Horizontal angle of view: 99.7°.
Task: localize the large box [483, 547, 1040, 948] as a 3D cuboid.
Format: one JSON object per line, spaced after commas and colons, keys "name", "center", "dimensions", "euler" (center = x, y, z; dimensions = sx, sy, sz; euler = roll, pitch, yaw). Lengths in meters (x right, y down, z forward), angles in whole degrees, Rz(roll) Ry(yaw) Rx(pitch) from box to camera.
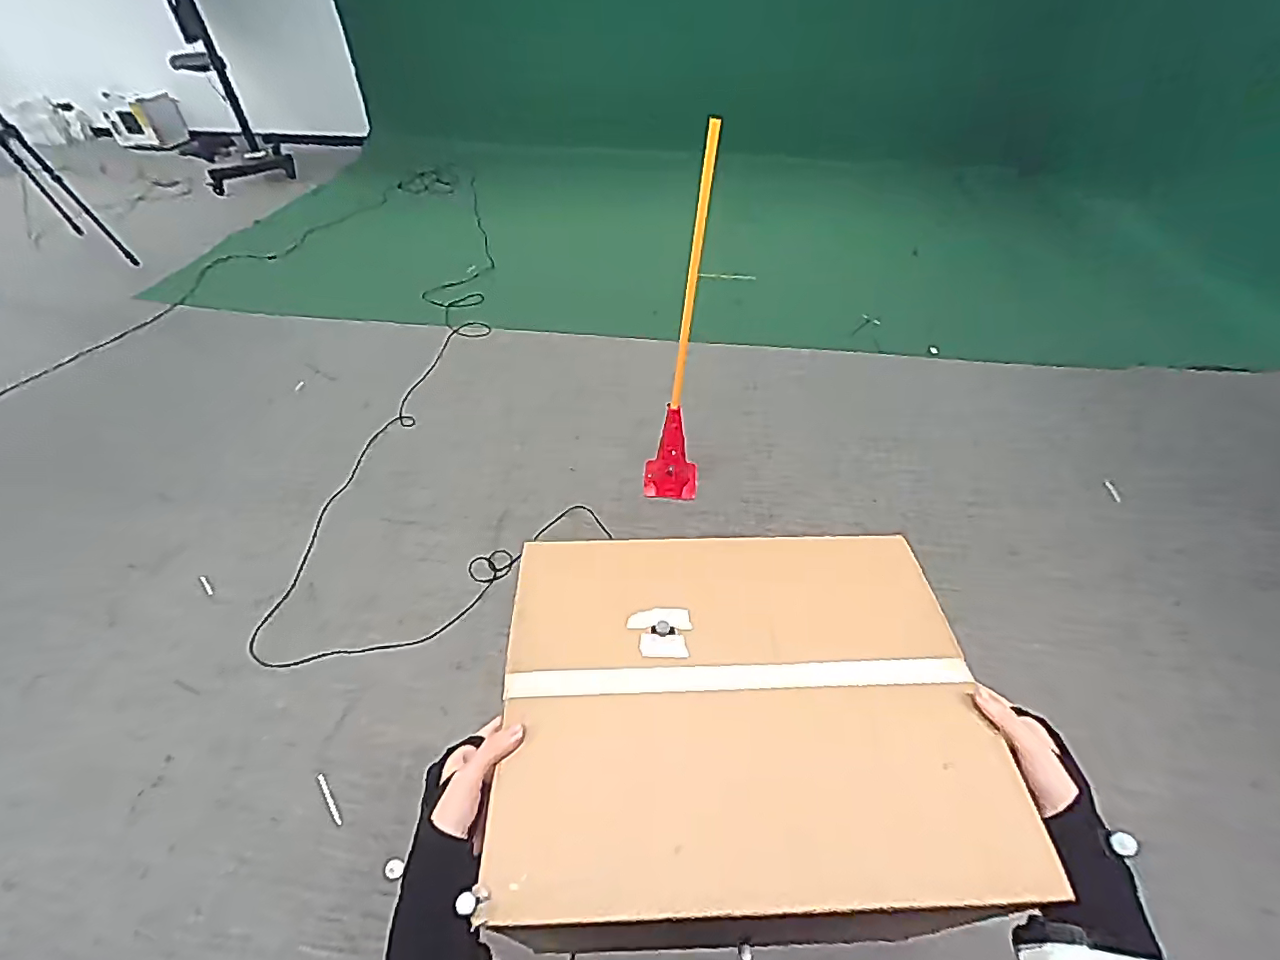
{"name": "large box", "center": [0.084, 0.291, 0.586], "dimensions": [0.408, 0.320, 0.320], "euler": [-1, 46, -1]}
